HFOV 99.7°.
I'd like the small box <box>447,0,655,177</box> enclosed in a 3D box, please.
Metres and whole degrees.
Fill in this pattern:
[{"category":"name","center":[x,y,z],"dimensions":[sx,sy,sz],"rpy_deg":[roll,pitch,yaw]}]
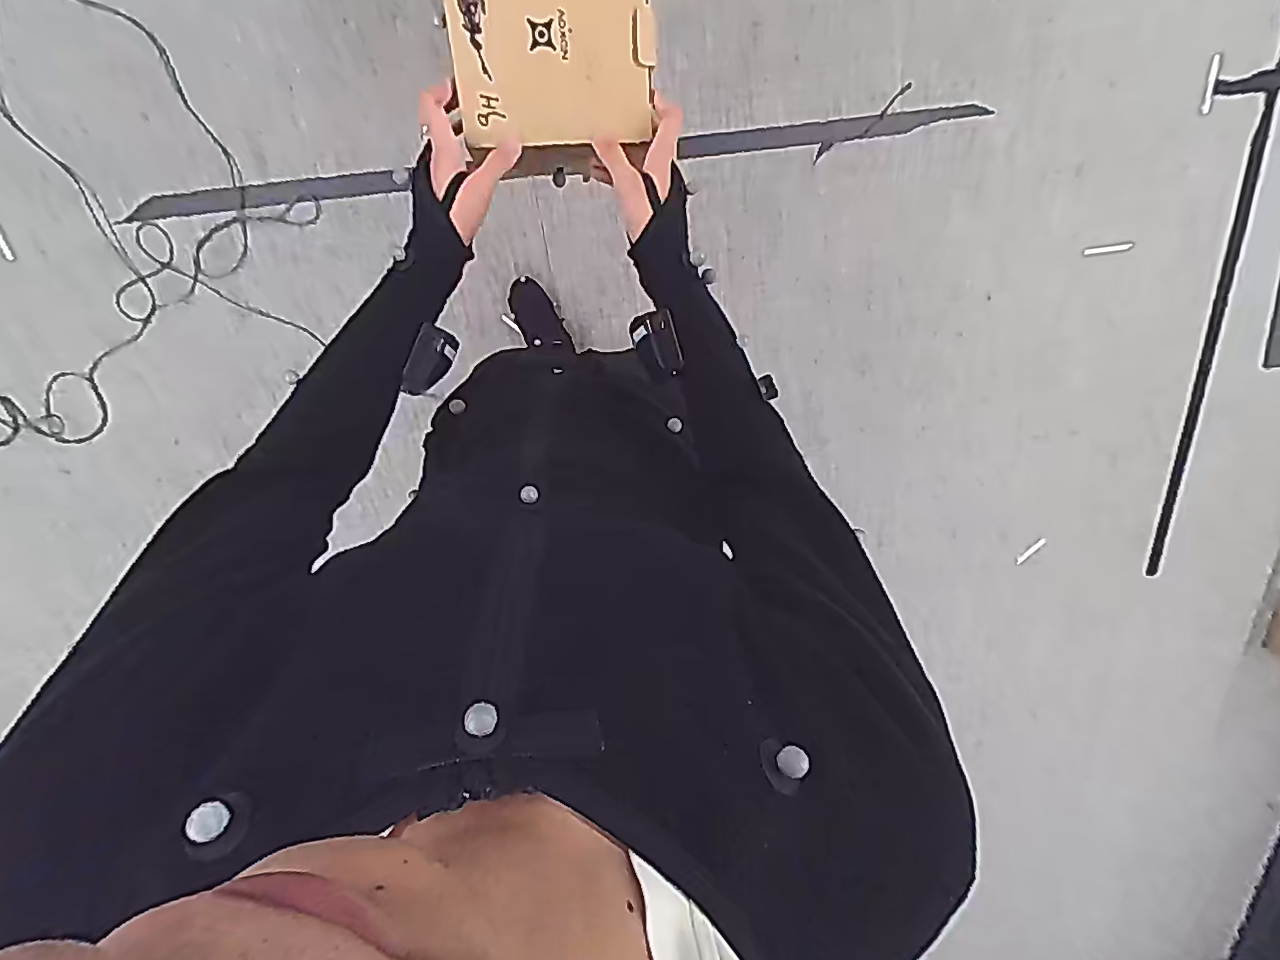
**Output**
[{"category":"small box","center":[-0.089,-0.410,0.539],"dimensions":[0.179,0.176,0.168],"rpy_deg":[-6,111,-9]}]
